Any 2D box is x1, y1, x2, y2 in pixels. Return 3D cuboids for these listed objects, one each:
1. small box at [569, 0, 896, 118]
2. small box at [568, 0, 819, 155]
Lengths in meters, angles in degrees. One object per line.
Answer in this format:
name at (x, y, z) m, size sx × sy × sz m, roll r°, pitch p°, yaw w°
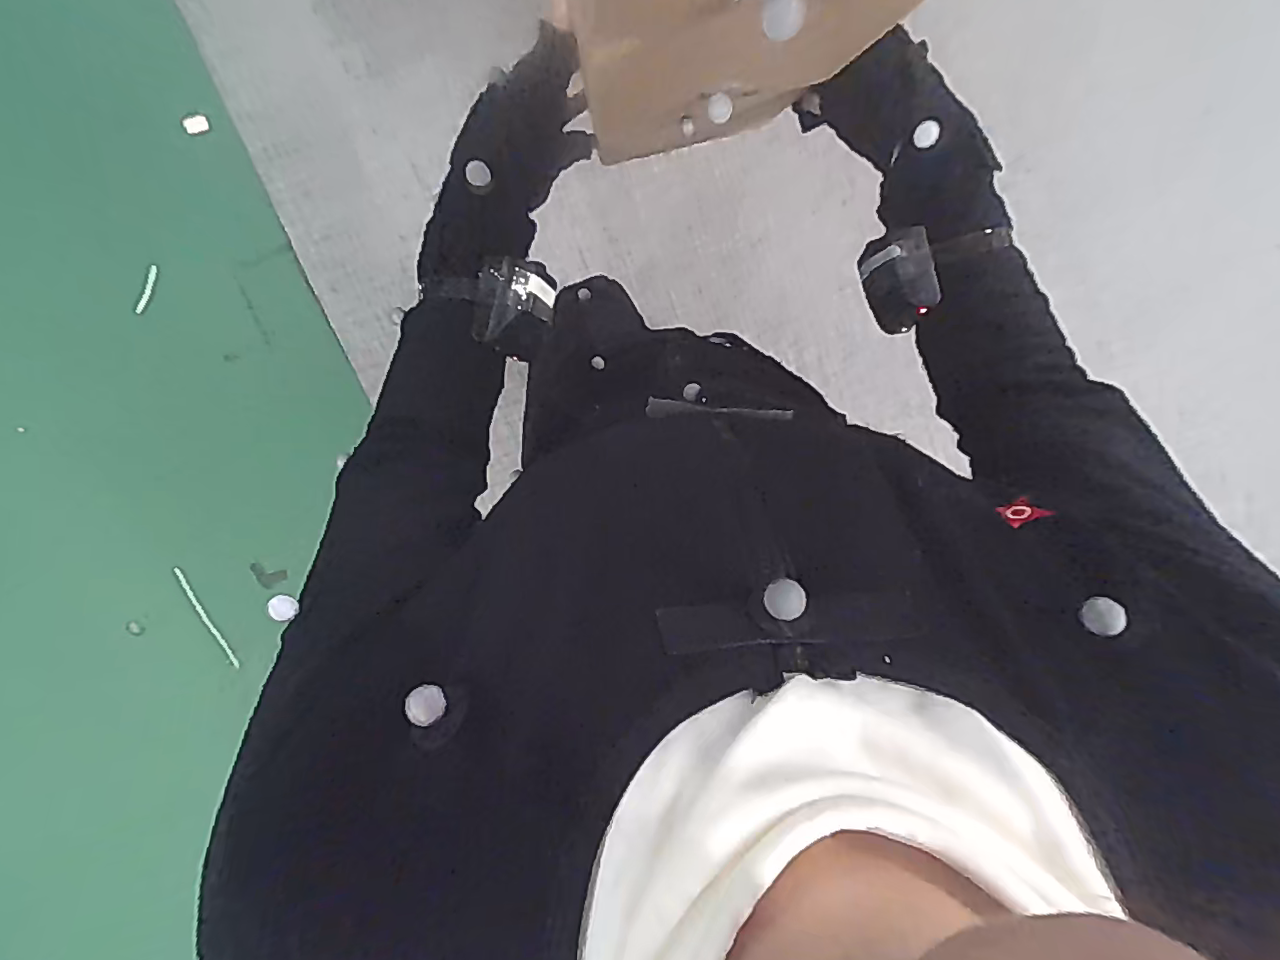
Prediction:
small box at (0.035, -0.313, 0.265) m, size 0.168 × 0.176 × 0.179 m, roll -13°, pitch 113°, yaw 2°
small box at (0.029, -0.380, 0.416) m, size 0.168 × 0.176 × 0.179 m, roll -13°, pitch 112°, yaw 3°
